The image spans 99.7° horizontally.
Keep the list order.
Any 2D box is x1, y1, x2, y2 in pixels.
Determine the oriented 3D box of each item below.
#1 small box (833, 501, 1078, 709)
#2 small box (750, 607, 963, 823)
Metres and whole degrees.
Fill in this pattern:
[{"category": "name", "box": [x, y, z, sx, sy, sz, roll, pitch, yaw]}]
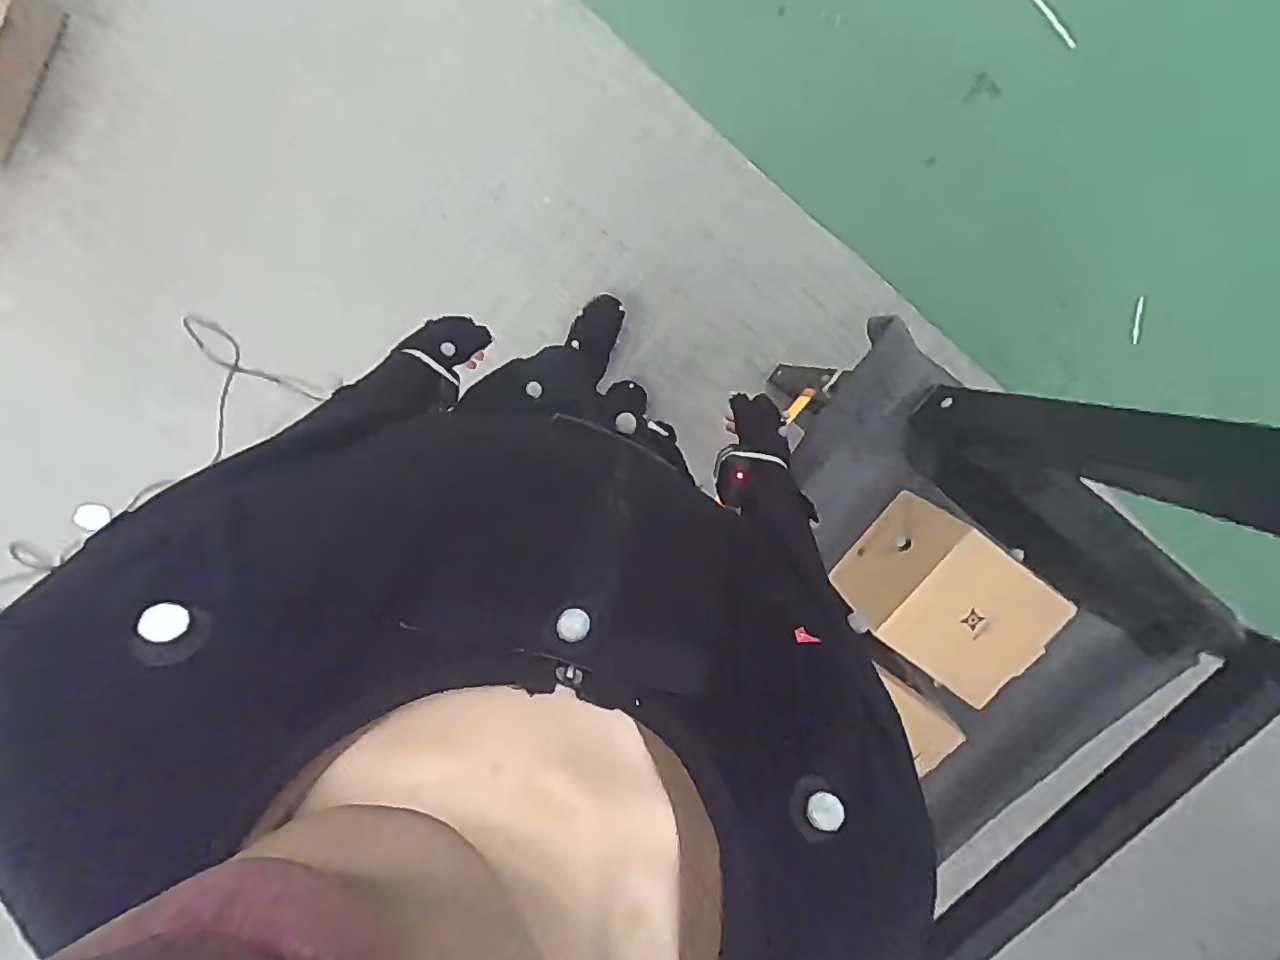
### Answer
[{"category": "small box", "box": [0.385, 0.145, 0.698, 0.179, 0.176, 0.168, 35, 101, -9]}, {"category": "small box", "box": [0.277, 0.305, 0.736, 0.179, 0.176, 0.168, 37, 100, -8]}]
